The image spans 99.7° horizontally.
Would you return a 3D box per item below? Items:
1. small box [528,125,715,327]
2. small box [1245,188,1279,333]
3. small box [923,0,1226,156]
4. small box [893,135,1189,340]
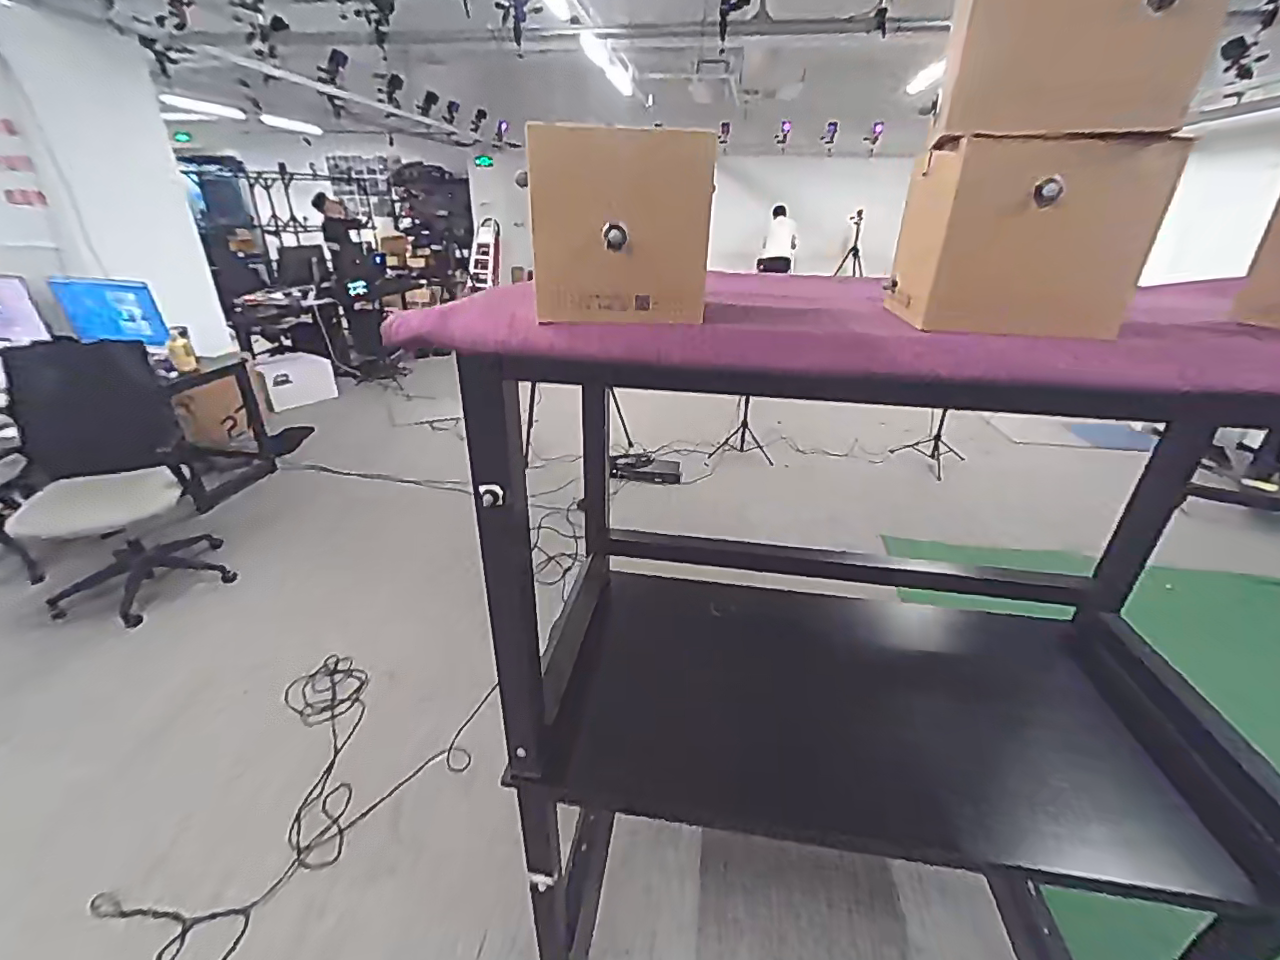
[{"bbox_3d":[-0.021,-0.263,0.571,0.168,0.176,0.179,1,27,-4],"label":"small box"},{"bbox_3d":[0.753,-0.217,0.514,0.179,0.176,0.168,4,24,9],"label":"small box"},{"bbox_3d":[0.375,-0.389,0.485,0.179,0.176,0.168,9,27,18],"label":"small box"},{"bbox_3d":[0.376,-0.244,0.556,0.179,0.176,0.168,6,27,8],"label":"small box"}]
